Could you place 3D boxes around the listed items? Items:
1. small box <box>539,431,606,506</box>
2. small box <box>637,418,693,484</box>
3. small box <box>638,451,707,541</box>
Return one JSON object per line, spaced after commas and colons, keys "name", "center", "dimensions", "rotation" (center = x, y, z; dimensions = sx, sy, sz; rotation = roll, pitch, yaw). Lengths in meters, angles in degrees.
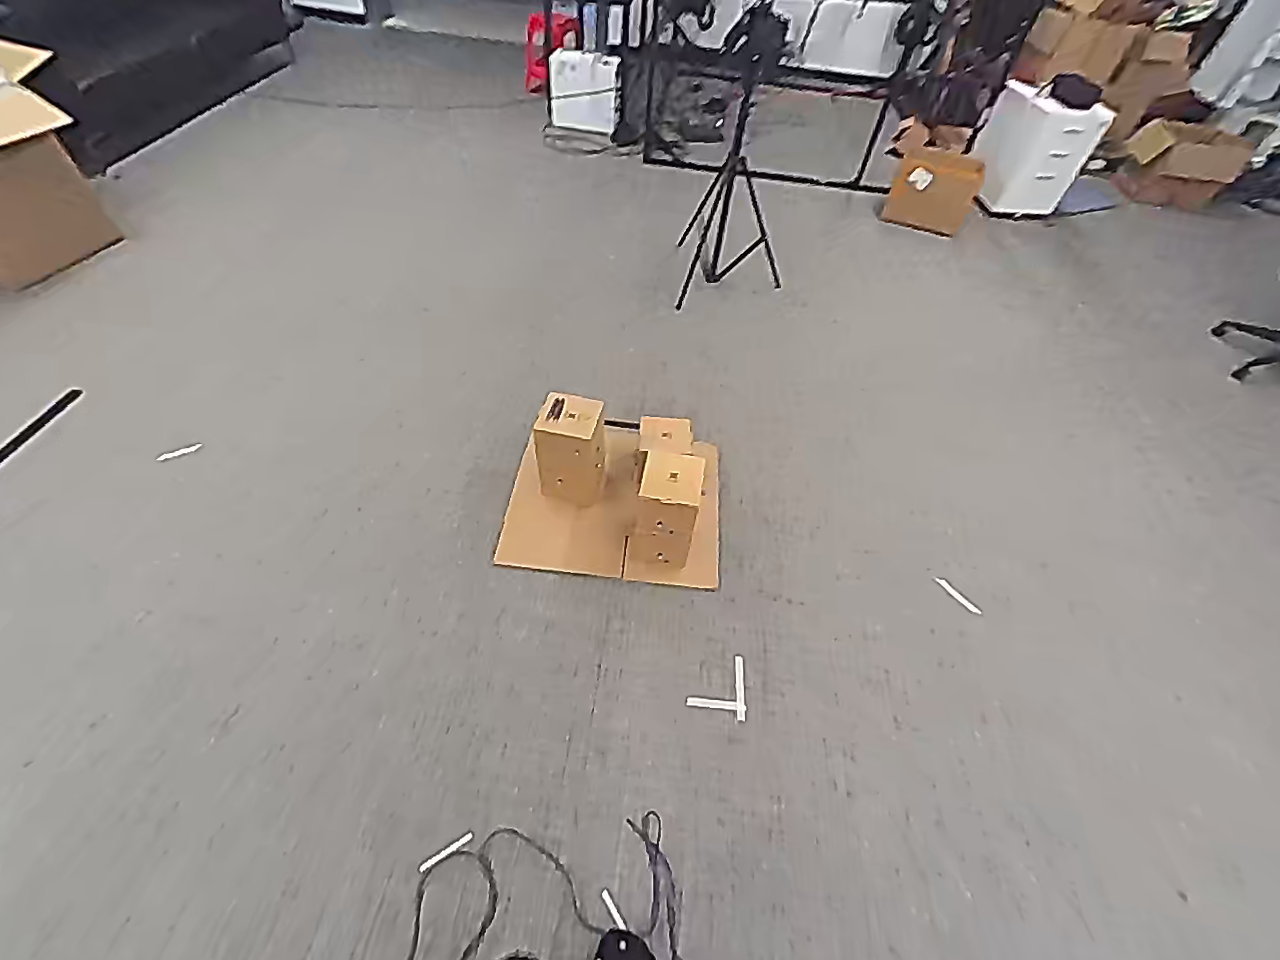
{"name": "small box", "center": [-0.218, -0.034, 1.793], "dimensions": [0.179, 0.176, 0.168], "rotation": [13, 52, 8]}
{"name": "small box", "center": [0.085, -0.092, 1.869], "dimensions": [0.179, 0.176, 0.168], "rotation": [3, 50, -1]}
{"name": "small box", "center": [0.089, 0.047, 1.546], "dimensions": [0.168, 0.176, 0.179], "rotation": [10, 52, 3]}
